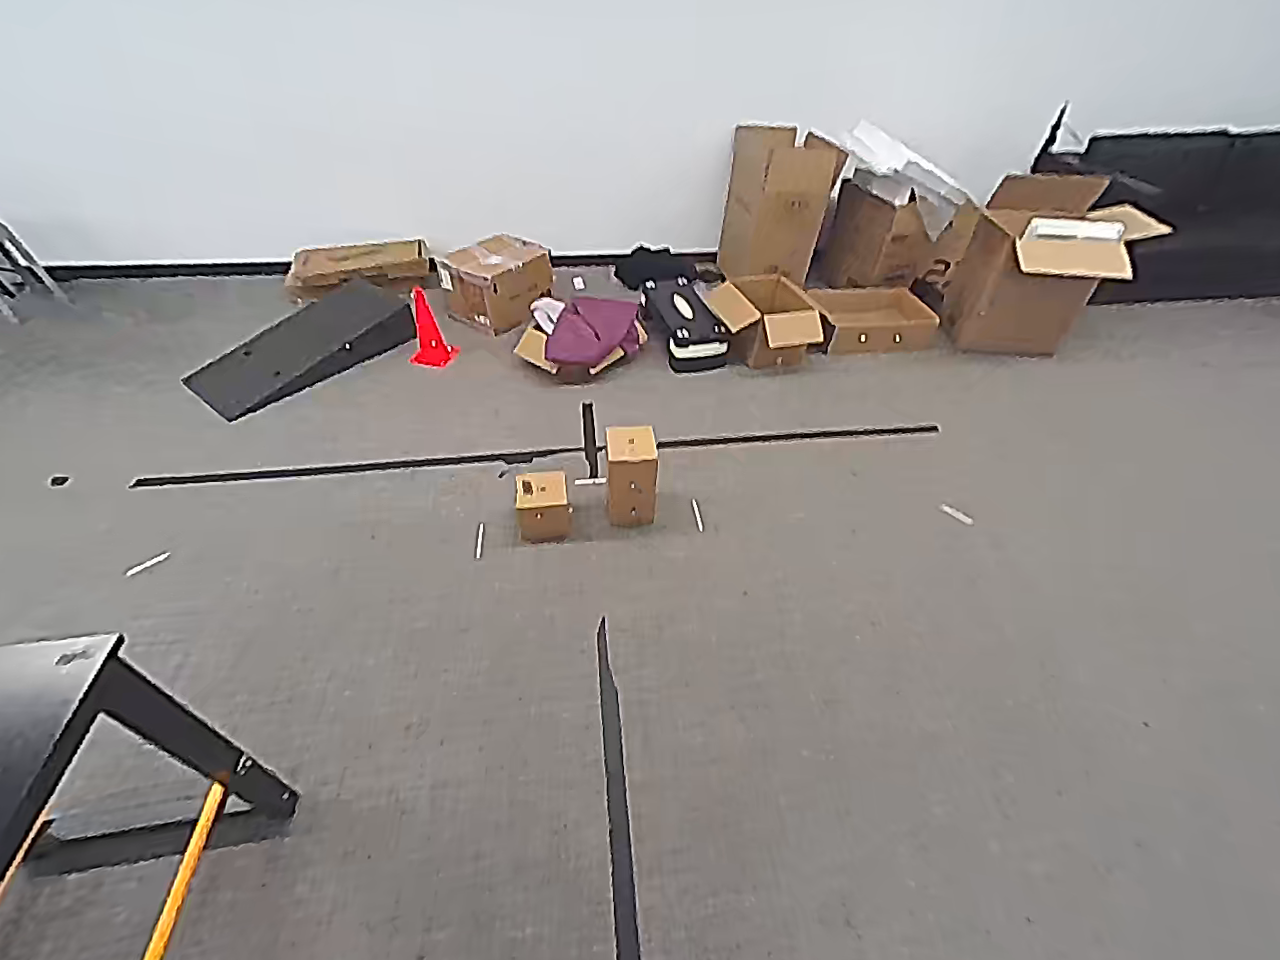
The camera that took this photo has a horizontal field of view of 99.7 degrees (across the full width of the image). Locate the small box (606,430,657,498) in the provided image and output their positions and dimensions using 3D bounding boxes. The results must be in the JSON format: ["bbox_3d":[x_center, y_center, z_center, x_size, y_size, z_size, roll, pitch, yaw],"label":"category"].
[{"bbox_3d":[-0.035,-0.055,1.893,0.168,0.176,0.179,-3,44,-5],"label":"small box"}]

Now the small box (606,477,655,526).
[{"bbox_3d":[-0.037,0.060,2.013,0.168,0.176,0.179,-5,45,-6],"label":"small box"}]

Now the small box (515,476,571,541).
[{"bbox_3d":[-0.347,0.106,1.947,0.179,0.176,0.168,-5,44,-7],"label":"small box"}]
